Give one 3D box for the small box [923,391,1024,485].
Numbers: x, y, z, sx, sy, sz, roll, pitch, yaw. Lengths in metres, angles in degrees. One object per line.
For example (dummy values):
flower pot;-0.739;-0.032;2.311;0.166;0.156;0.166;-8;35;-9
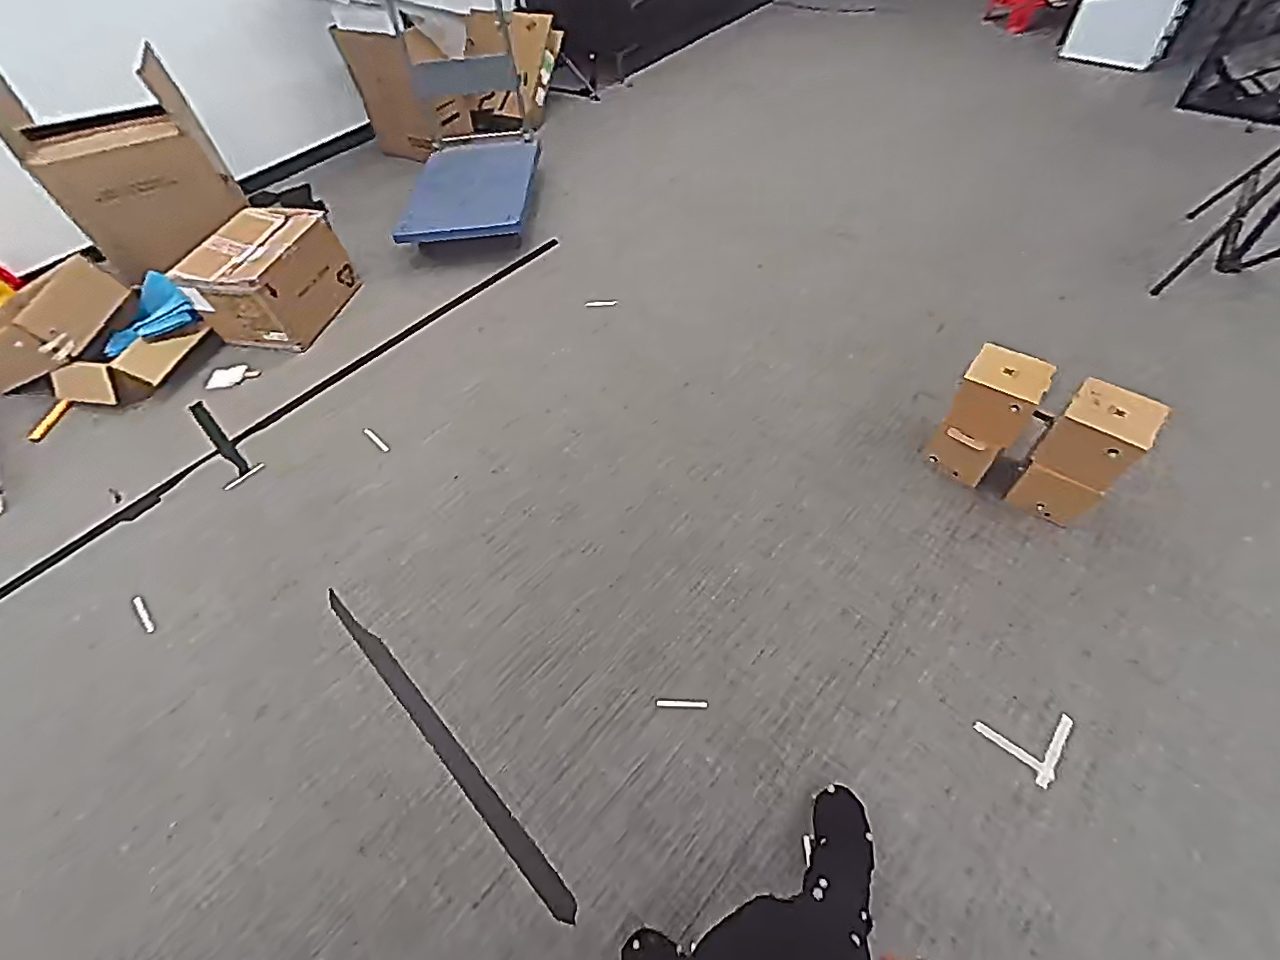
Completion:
small box;0.946;-0.116;1.552;0.168;0.176;0.179;37;65;28
